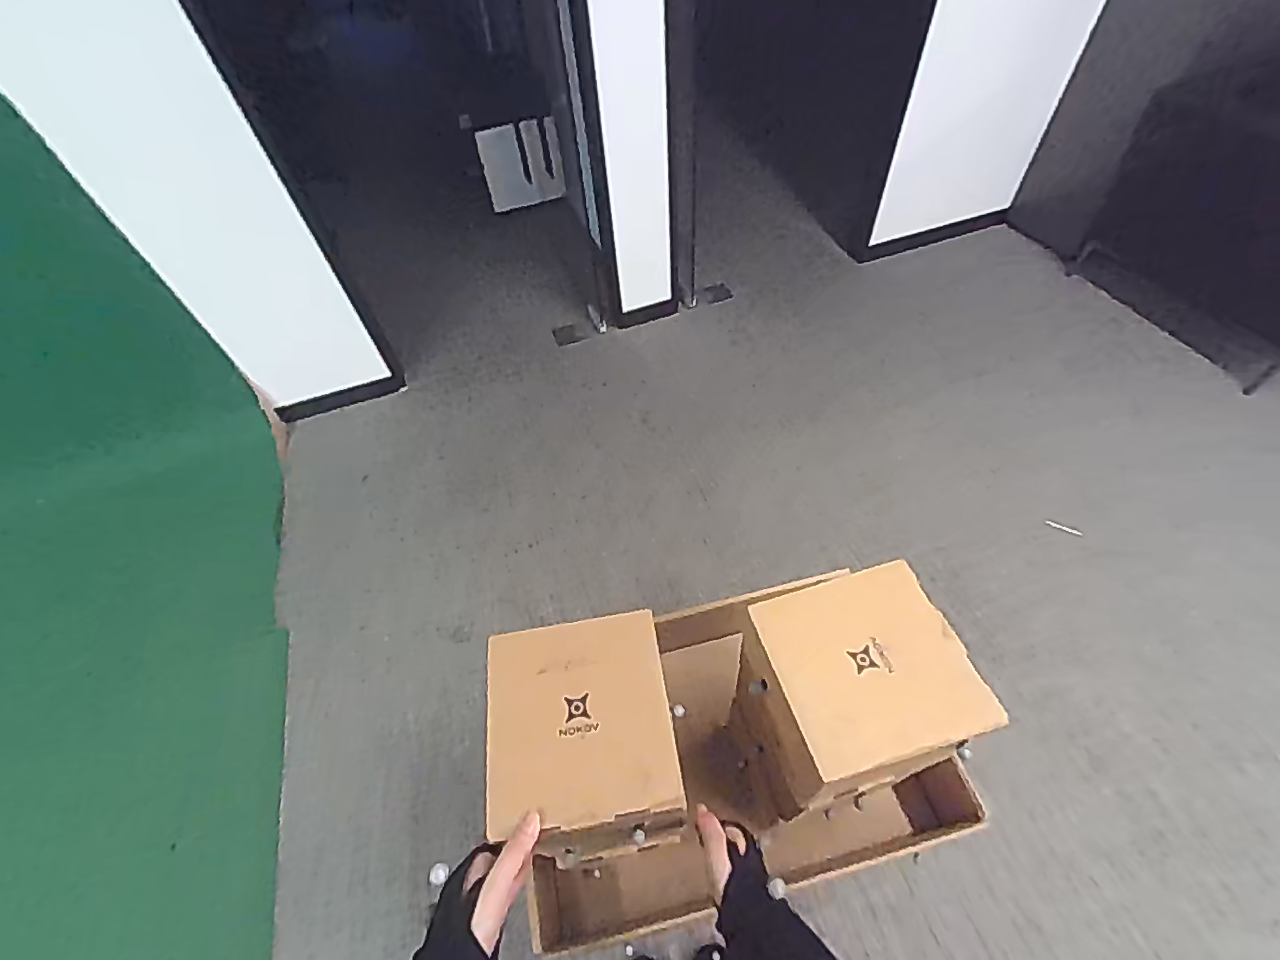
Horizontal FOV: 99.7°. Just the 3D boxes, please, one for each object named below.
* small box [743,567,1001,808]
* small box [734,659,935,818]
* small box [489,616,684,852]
[{"bbox_3d":[0.216,0.221,0.566,0.179,0.176,0.168,-15,53,-6],"label":"small box"},{"bbox_3d":[0.232,0.316,0.697,0.168,0.176,0.179,-15,54,-7],"label":"small box"},{"bbox_3d":[-0.050,0.264,0.552,0.168,0.176,0.179,-9,52,-3],"label":"small box"}]
